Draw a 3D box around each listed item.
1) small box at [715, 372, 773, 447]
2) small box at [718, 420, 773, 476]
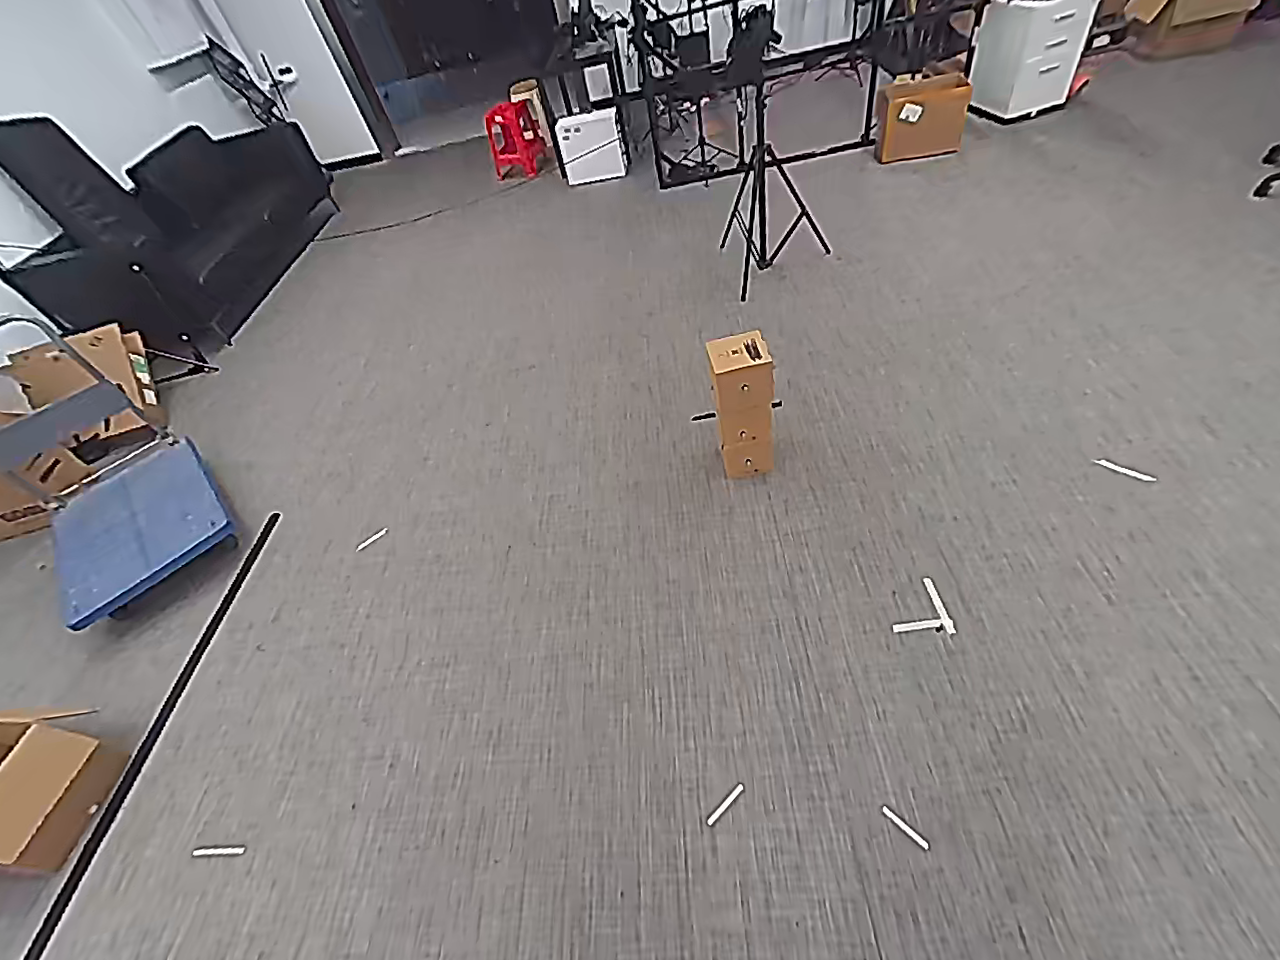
[{"bbox_3d":[0.351,-0.237,1.835,0.168,0.176,0.179,-10,48,6],"label":"small box"},{"bbox_3d":[0.382,-0.129,1.954,0.168,0.176,0.179,-11,47,5],"label":"small box"}]
